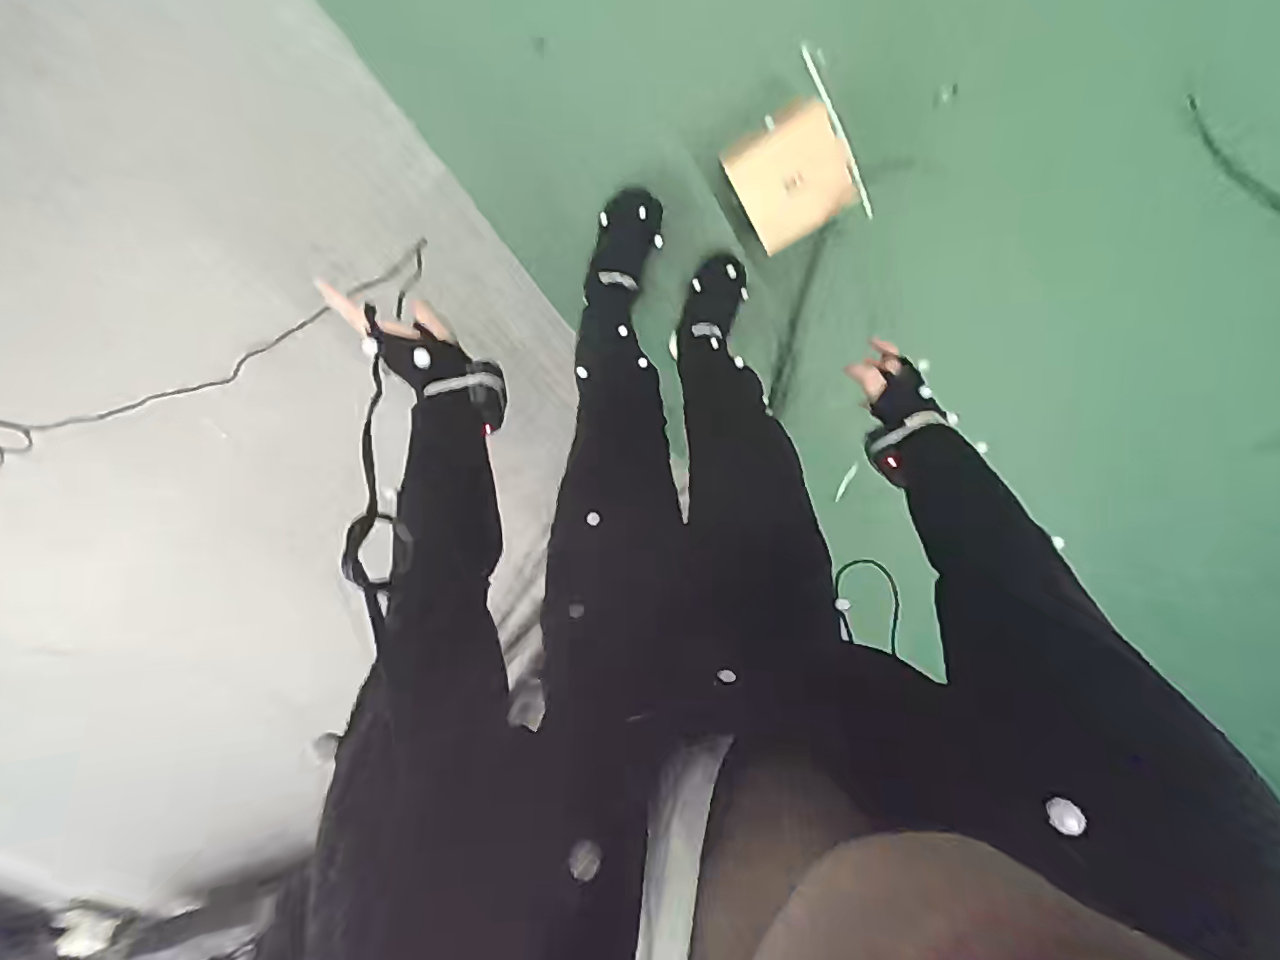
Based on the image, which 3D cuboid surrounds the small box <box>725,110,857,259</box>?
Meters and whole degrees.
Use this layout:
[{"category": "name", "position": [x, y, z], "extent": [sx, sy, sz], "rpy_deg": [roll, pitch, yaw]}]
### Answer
[{"category": "small box", "position": [0.267, -0.544, 0.996], "extent": [0.179, 0.176, 0.168], "rpy_deg": [-28, 119, 20]}]
